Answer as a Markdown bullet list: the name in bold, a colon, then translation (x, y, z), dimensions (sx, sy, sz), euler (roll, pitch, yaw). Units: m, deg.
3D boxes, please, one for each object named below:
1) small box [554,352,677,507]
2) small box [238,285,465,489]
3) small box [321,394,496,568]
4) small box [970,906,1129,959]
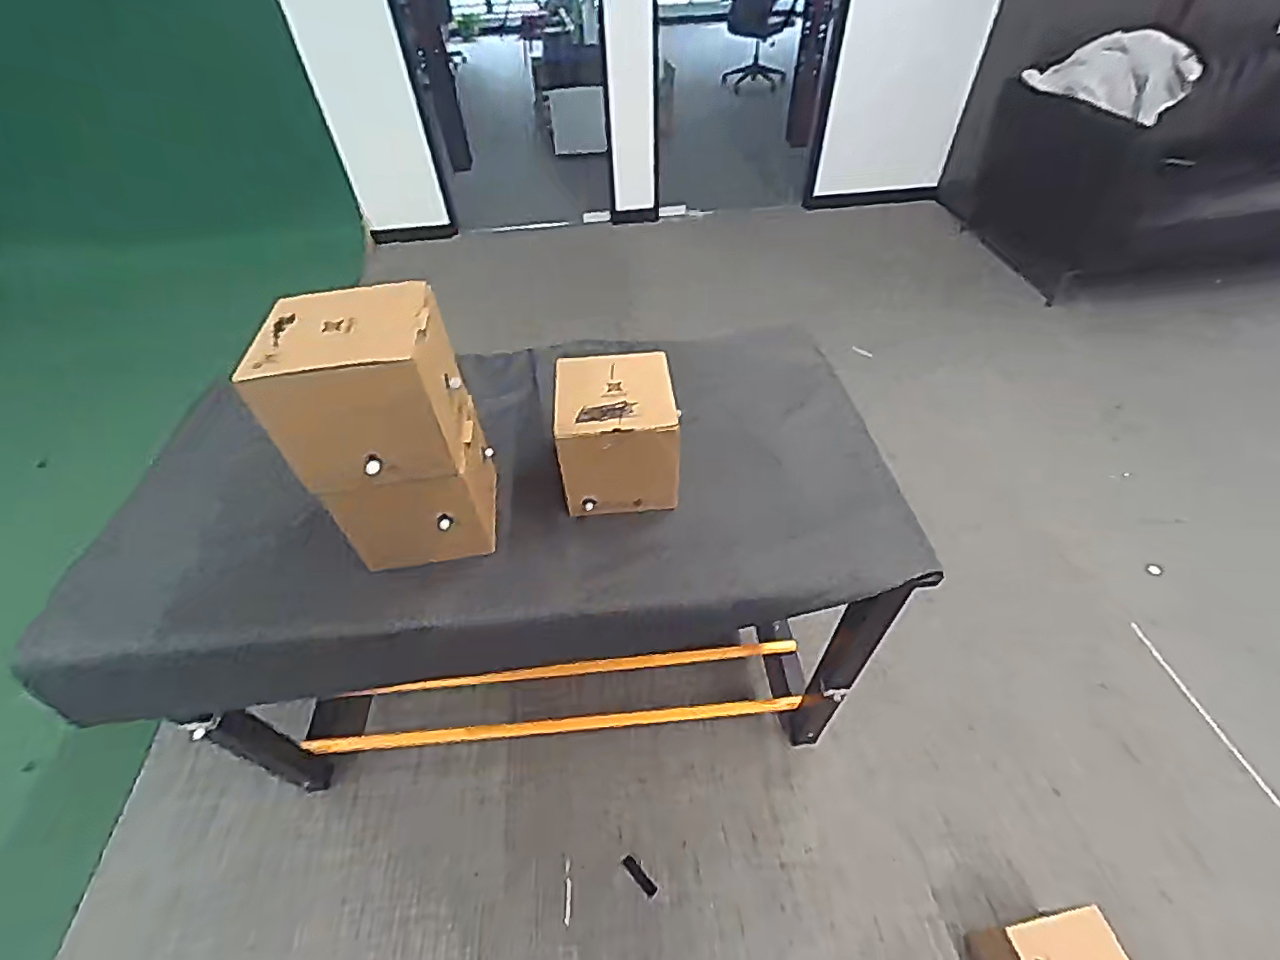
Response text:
- **small box**: translation (-0.033, -0.070, 0.819), dimensions (0.168, 0.176, 0.179), euler (-4, 47, -2)
- **small box**: translation (-0.317, -0.109, 0.645), dimensions (0.179, 0.176, 0.168), euler (-8, 46, -5)
- **small box**: translation (-0.307, 0.003, 0.765), dimensions (0.179, 0.176, 0.168), euler (-9, 46, -5)
- **small box**: translation (0.716, 0.853, 0.923), dimensions (0.179, 0.176, 0.168), euler (-9, 47, -6)
